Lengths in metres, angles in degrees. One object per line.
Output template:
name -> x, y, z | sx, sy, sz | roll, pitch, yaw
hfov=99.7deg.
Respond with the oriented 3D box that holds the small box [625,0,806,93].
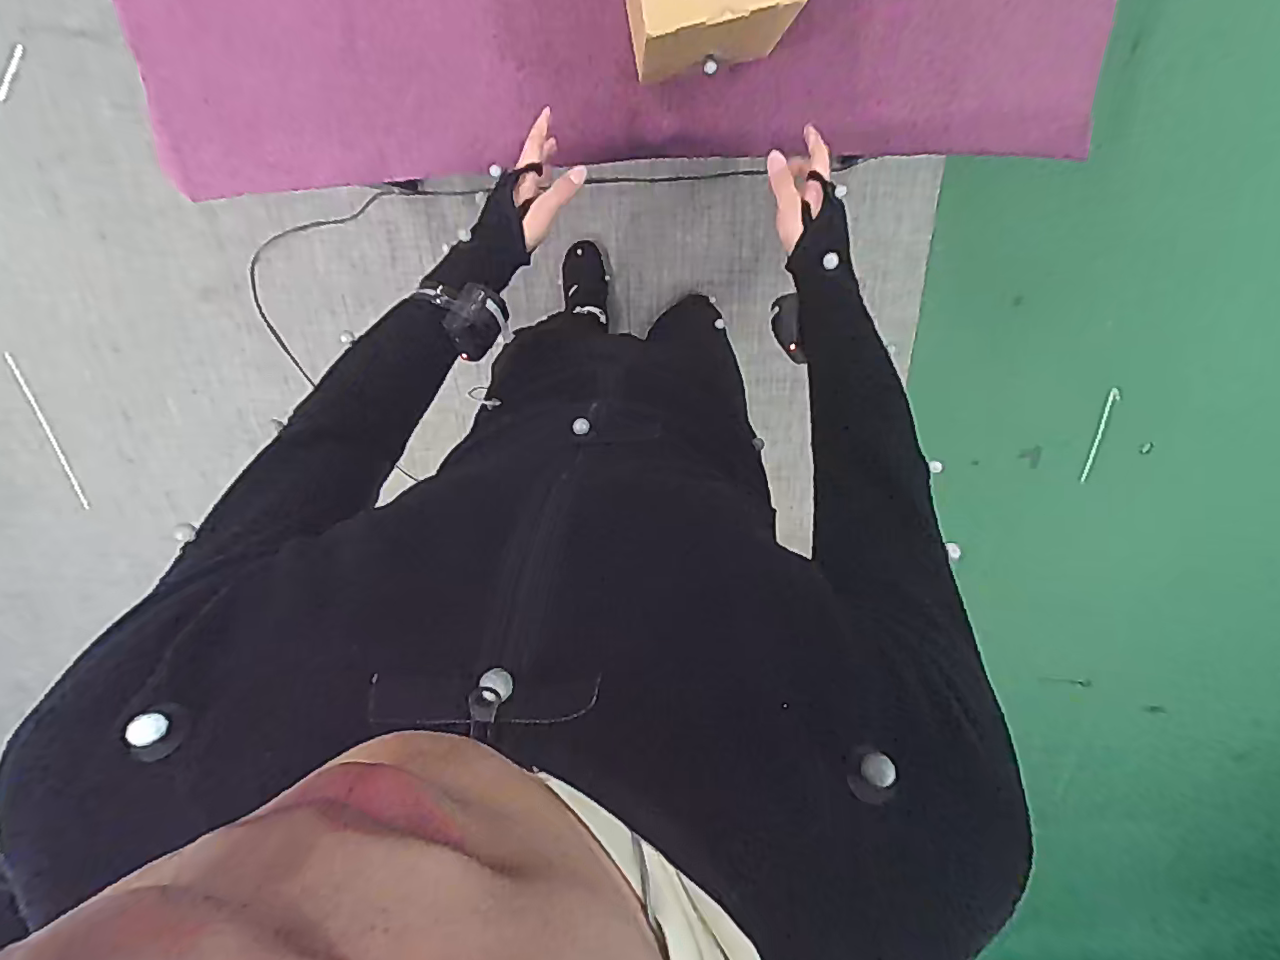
small box -> 0.066, -0.556, 0.582 | 0.168, 0.176, 0.179 | -11, 112, 3
